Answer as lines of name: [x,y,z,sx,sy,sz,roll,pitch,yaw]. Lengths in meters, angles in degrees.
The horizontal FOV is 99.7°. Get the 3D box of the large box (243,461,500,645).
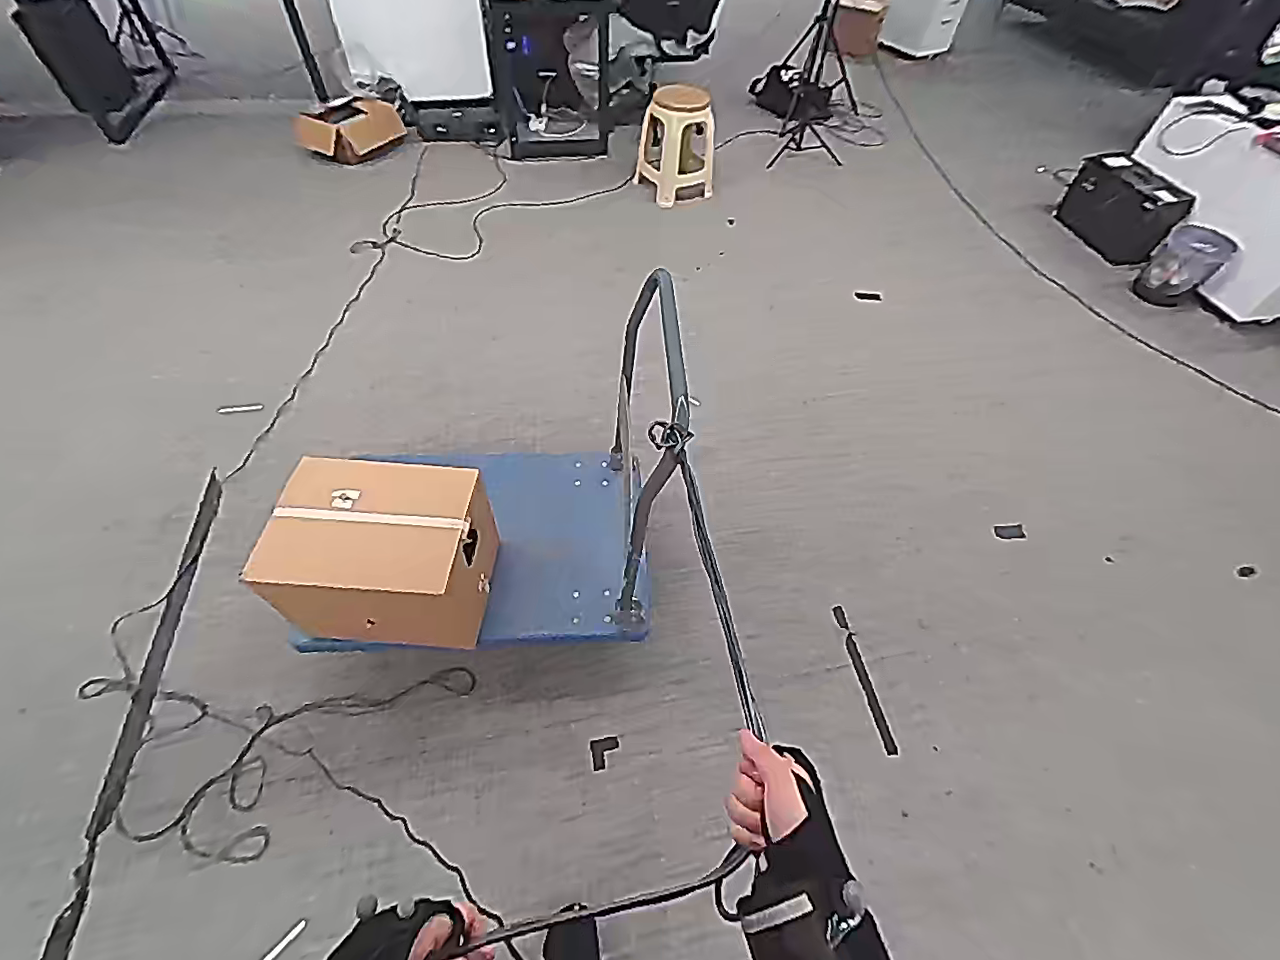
large box: [-0.571,0.178,1.254,0.408,0.320,0.320,4,53,0]
